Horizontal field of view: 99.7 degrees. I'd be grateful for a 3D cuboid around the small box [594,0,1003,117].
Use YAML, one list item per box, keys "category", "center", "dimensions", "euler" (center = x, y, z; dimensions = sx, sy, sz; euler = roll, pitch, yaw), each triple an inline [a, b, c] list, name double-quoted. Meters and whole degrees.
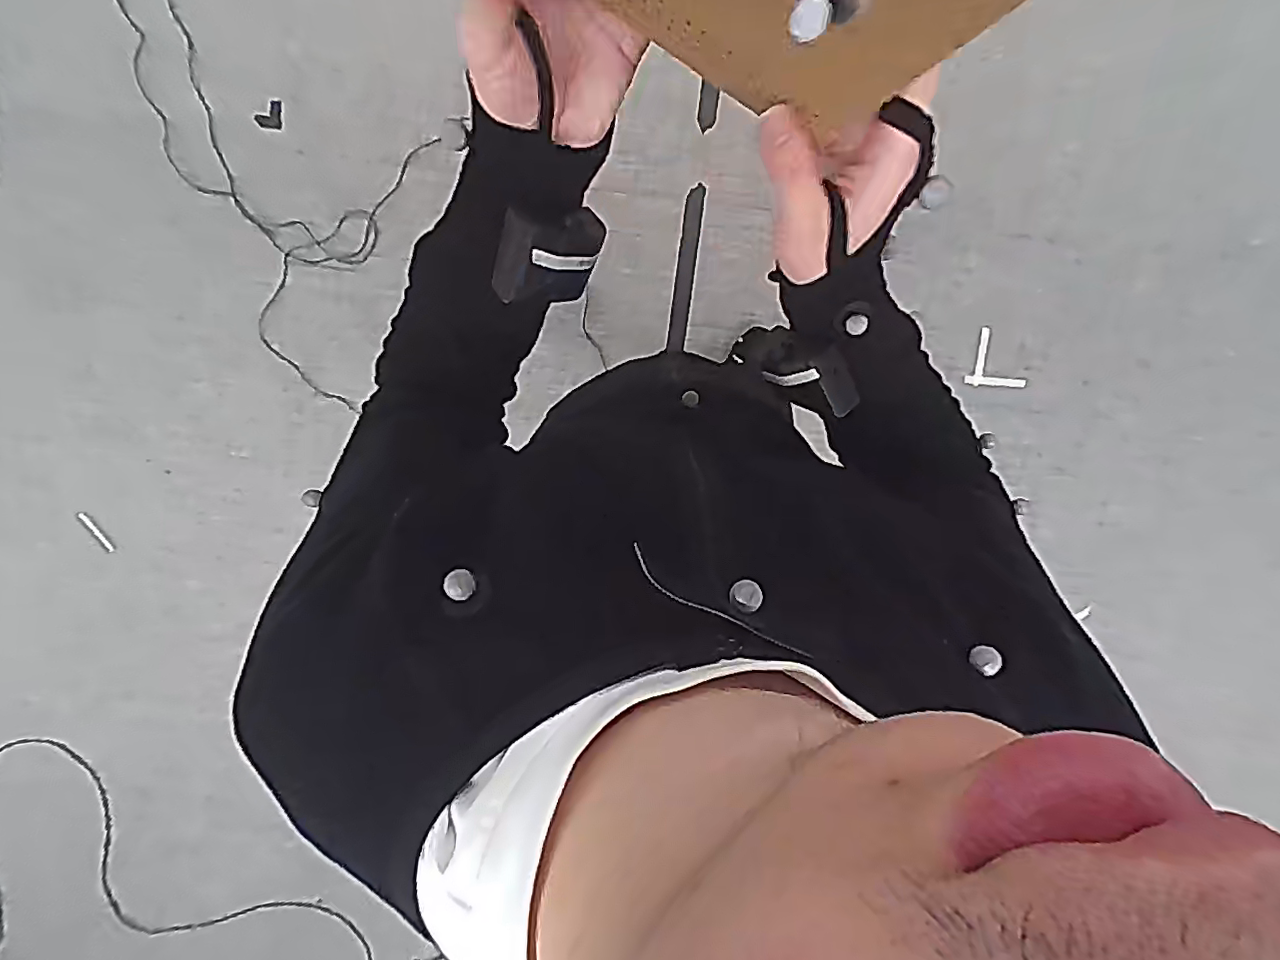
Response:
- category: "small box"
  center: [0.058, -0.249, 0.160]
  dimensions: [0.179, 0.176, 0.168]
  euler: [24, 100, -13]
